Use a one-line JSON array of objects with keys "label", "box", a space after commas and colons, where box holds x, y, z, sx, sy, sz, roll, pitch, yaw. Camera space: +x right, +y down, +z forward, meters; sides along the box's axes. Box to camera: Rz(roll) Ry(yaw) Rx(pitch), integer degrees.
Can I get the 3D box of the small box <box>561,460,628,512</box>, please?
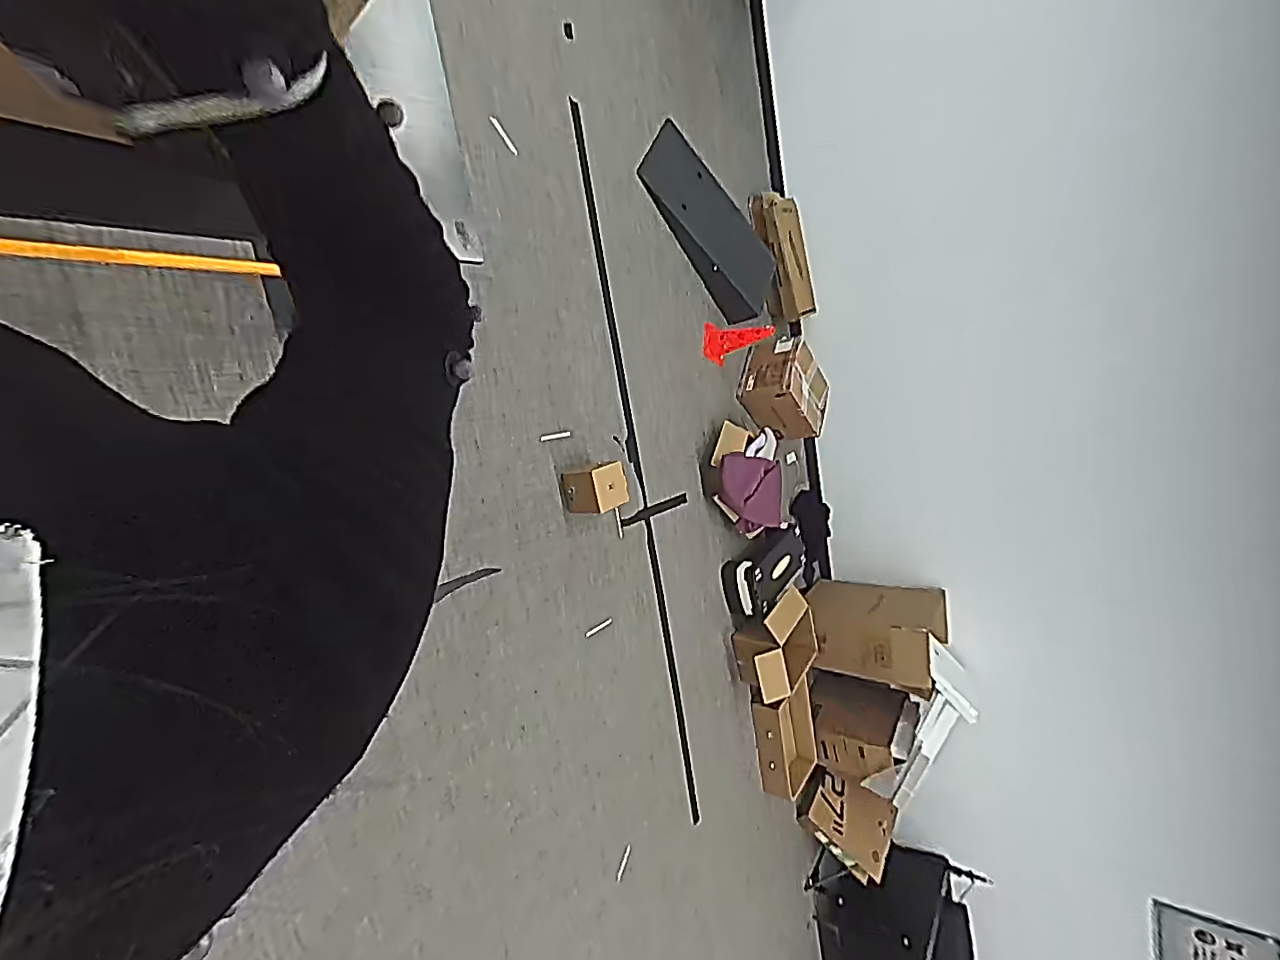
[{"label": "small box", "box": [-0.178, 0.022, 2.101, 0.179, 0.176, 0.168, -24, 105, -48]}]
